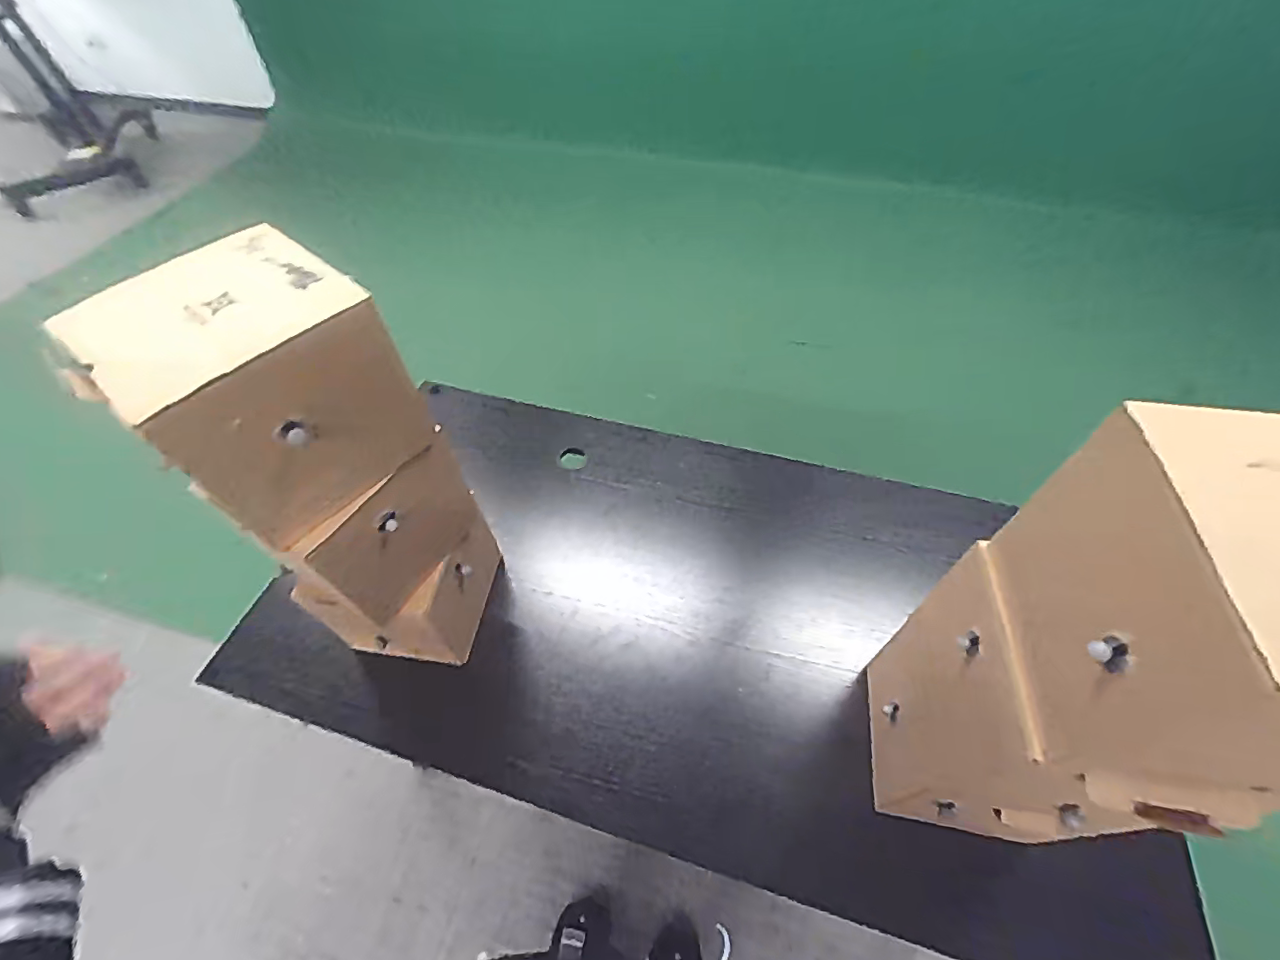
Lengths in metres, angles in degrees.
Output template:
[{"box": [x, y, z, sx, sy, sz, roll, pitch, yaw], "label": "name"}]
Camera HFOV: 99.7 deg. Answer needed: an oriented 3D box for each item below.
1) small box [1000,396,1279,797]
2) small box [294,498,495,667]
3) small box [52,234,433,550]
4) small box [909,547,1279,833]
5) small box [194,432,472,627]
[{"box": [0.356, 0.076, 0.321, 0.168, 0.176, 0.179, 7, 53, 6], "label": "small box"}, {"box": [-0.308, 0.131, 0.728, 0.168, 0.176, 0.179, 6, 55, 5], "label": "small box"}, {"box": [-0.316, -0.072, 0.469, 0.168, 0.176, 0.179, 34, 62, 22], "label": "small box"}, {"box": [0.353, 0.183, 0.466, 0.168, 0.176, 0.179, 6, 54, 7], "label": "small box"}, {"box": [-0.313, 0.032, 0.597, 0.168, 0.176, 0.179, 24, 57, 17], "label": "small box"}]
